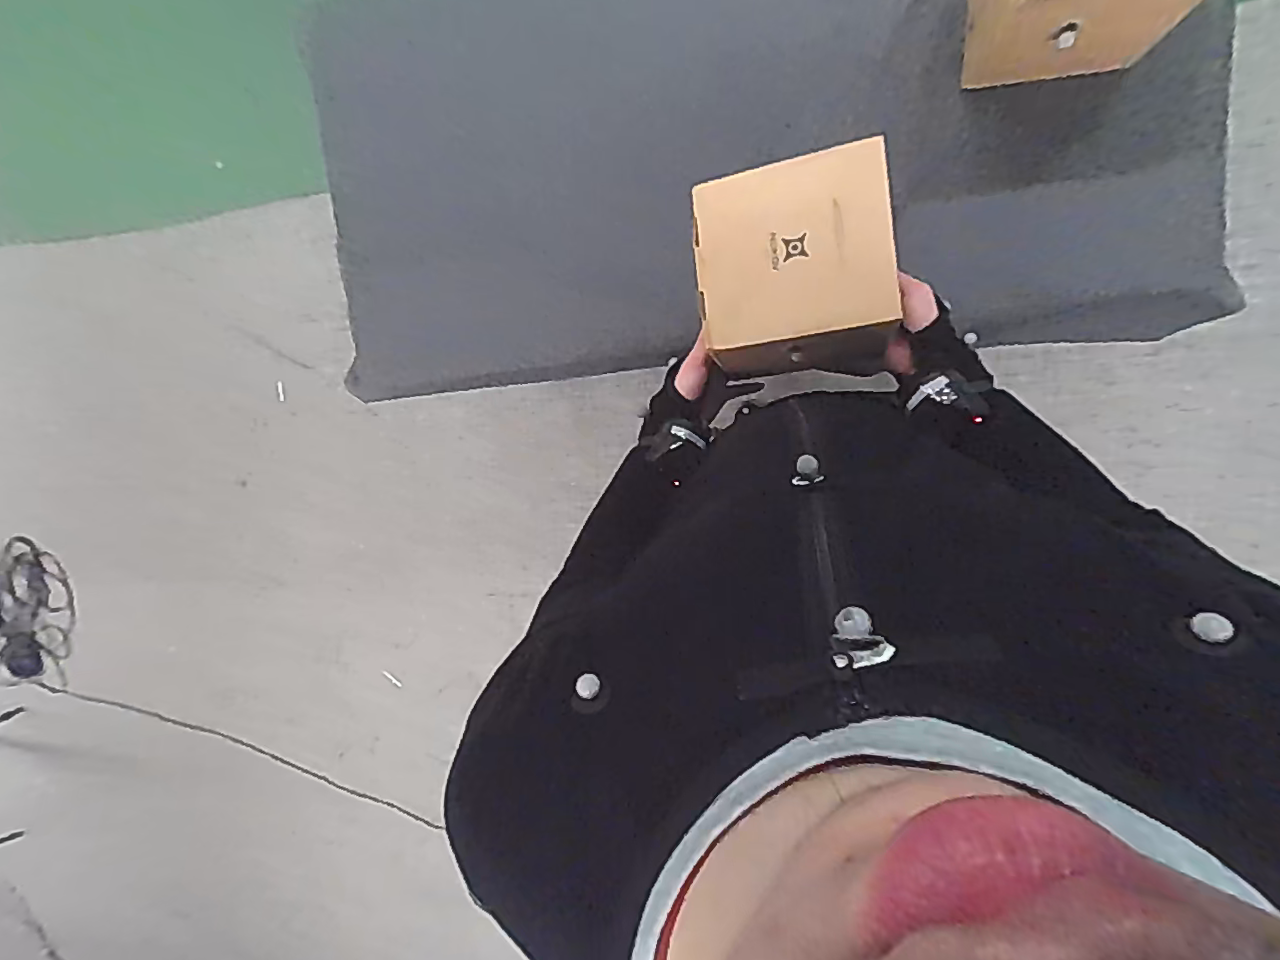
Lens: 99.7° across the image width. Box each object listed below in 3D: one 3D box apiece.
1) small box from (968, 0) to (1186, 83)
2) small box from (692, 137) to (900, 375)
[{"bbox_3d":[0.456,-0.541,0.549,0.179,0.176,0.168,3,102,16],"label":"small box"},{"bbox_3d":[0.164,-0.216,0.577,0.179,0.176,0.168,-6,90,17],"label":"small box"}]
